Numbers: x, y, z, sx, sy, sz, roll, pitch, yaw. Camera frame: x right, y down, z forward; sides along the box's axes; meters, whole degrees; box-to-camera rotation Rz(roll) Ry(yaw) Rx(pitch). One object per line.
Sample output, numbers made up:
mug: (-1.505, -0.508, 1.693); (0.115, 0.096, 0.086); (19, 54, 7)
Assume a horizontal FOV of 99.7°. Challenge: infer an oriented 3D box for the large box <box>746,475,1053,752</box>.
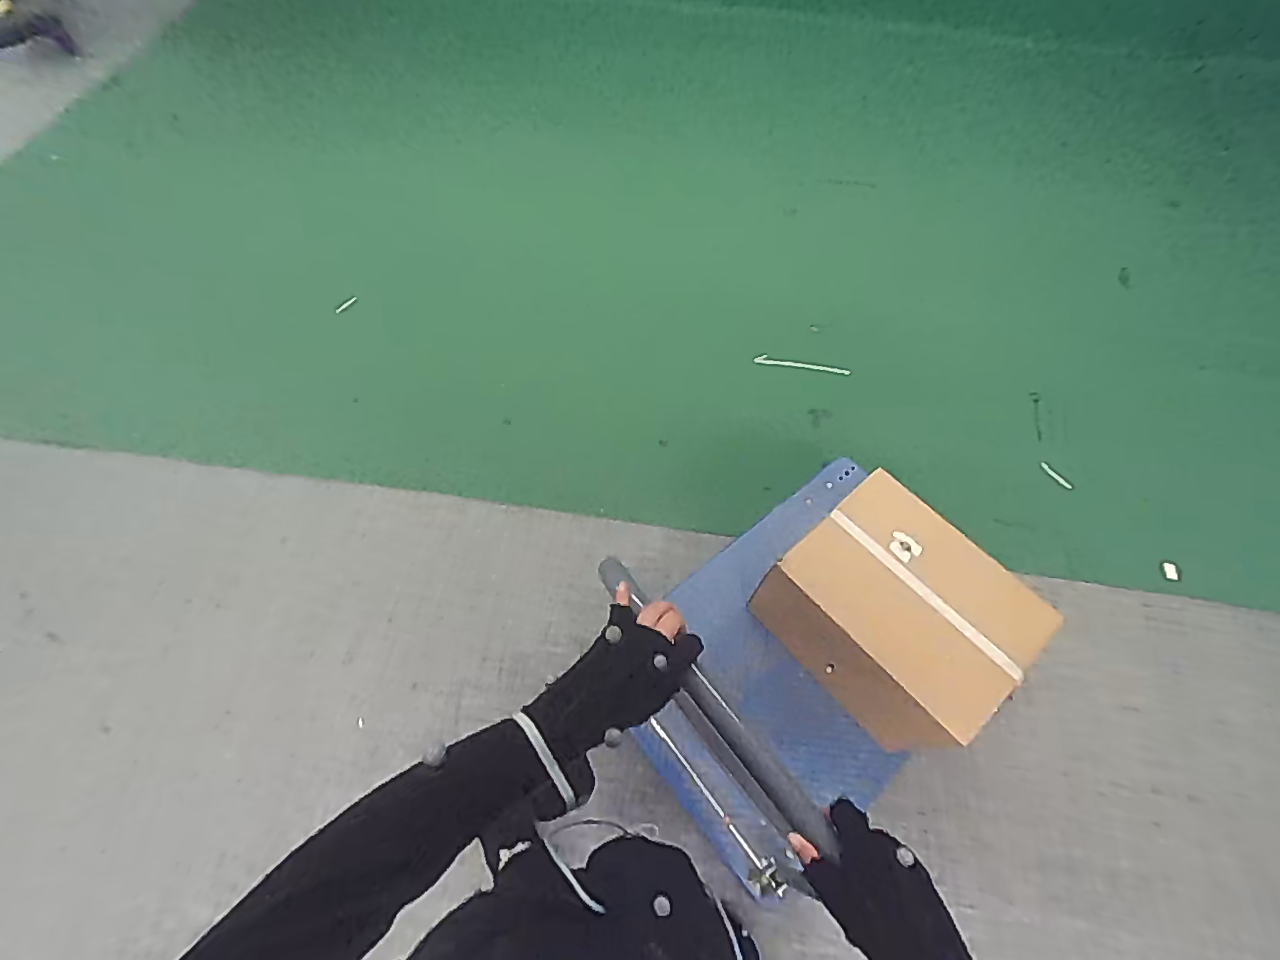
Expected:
large box: (0.482, 0.276, 1.097); (0.320, 0.320, 0.408); (-37, 67, -19)
